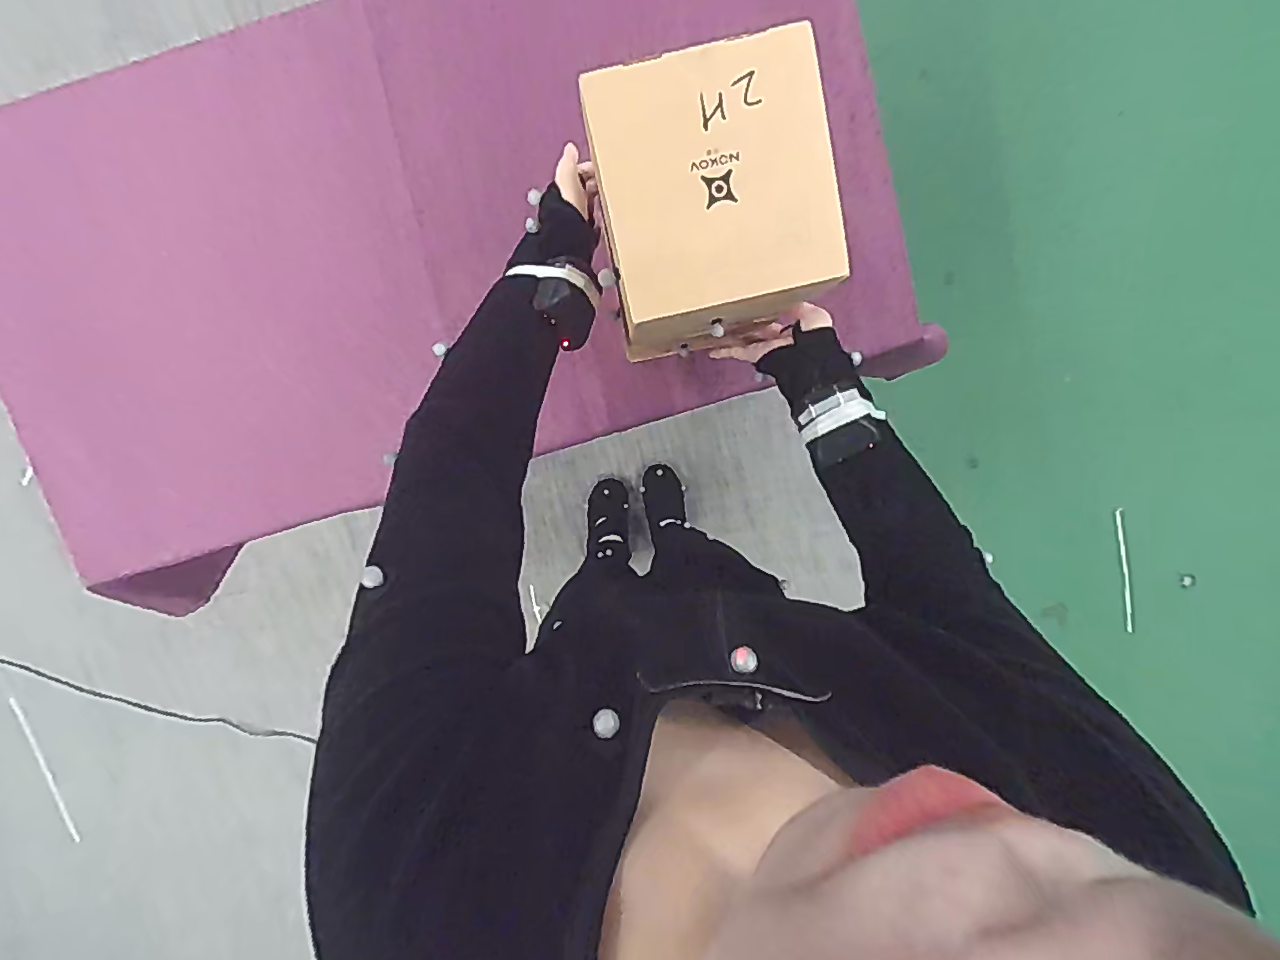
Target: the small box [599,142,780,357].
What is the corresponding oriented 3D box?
[{"bbox_3d":[0.050,-0.252,0.633,0.168,0.176,0.179,-11,98,1],"label":"small box"}]
